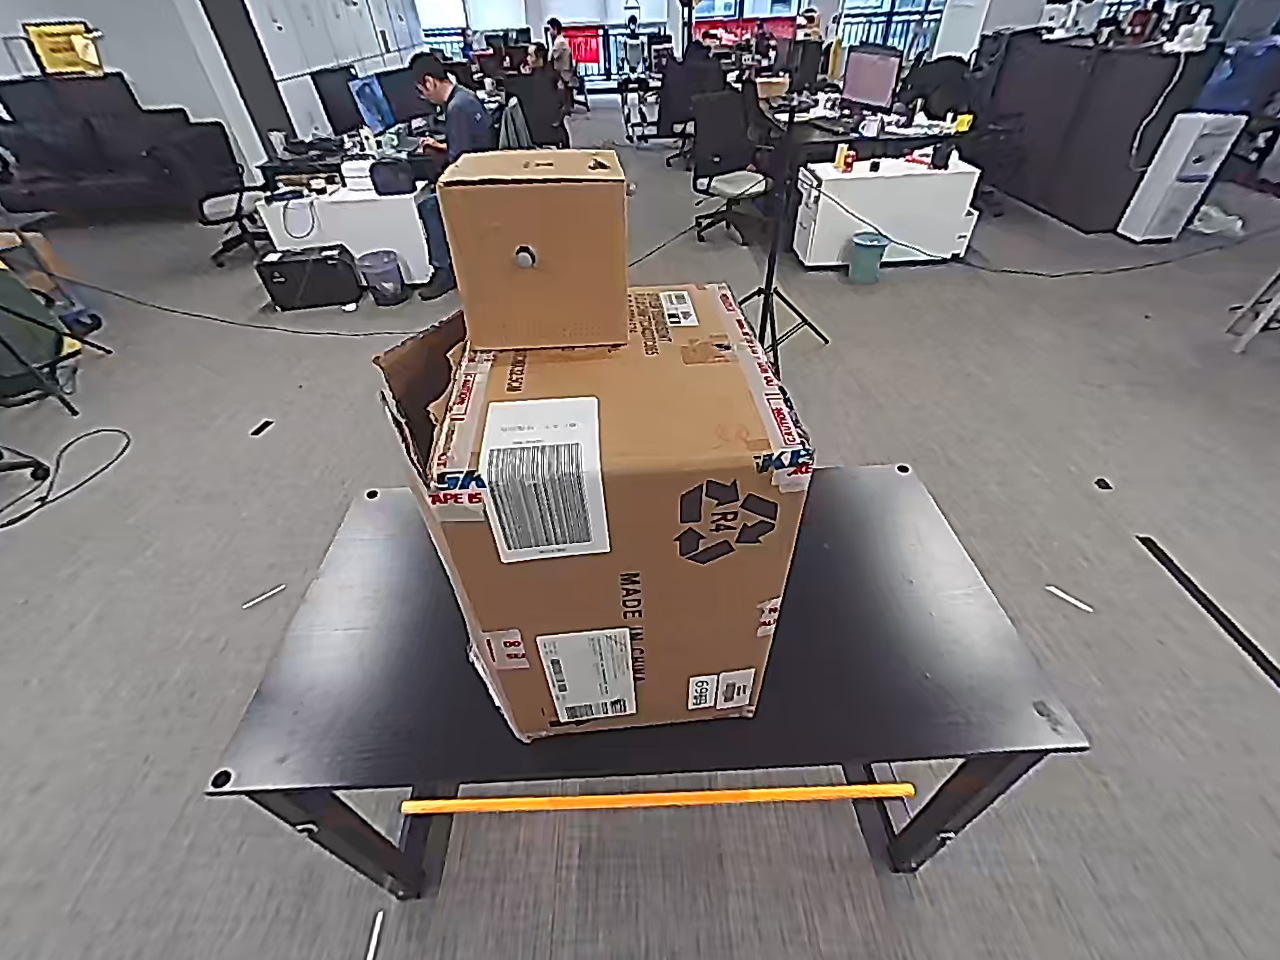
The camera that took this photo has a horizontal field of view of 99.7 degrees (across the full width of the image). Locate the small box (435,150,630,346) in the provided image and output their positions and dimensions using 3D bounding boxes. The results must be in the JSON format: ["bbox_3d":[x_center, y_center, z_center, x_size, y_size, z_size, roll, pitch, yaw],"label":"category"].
[{"bbox_3d":[-0.107,-0.260,0.609,0.179,0.176,0.168,-5,39,-4],"label":"small box"}]
